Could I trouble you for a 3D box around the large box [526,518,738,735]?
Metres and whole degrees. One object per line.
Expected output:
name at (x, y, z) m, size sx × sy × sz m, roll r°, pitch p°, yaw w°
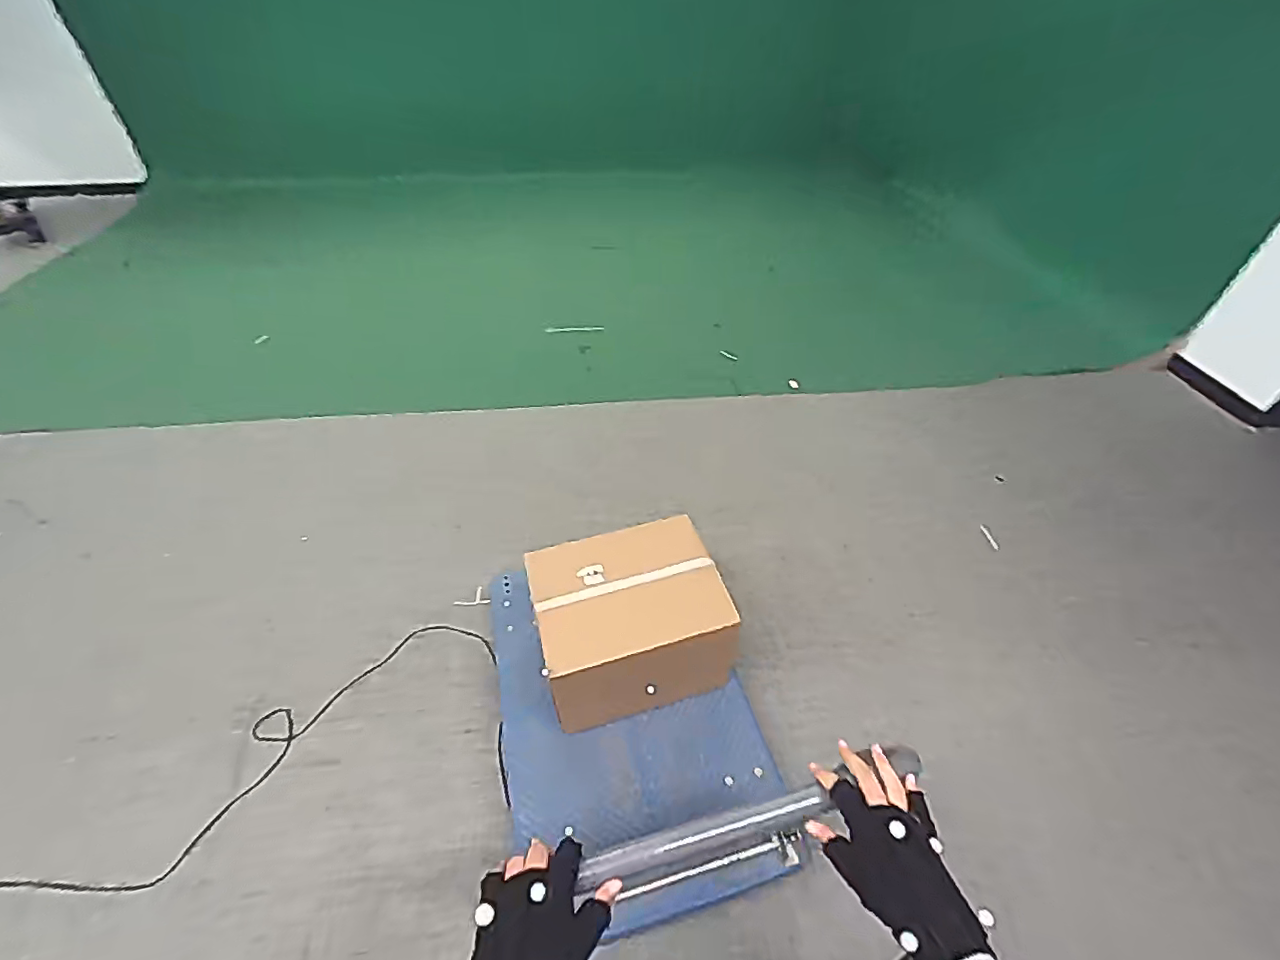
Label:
large box at (-0.024, 0.343, 1.280) m, size 0.408 × 0.320 × 0.320 m, roll -13°, pitch 46°, yaw -11°
